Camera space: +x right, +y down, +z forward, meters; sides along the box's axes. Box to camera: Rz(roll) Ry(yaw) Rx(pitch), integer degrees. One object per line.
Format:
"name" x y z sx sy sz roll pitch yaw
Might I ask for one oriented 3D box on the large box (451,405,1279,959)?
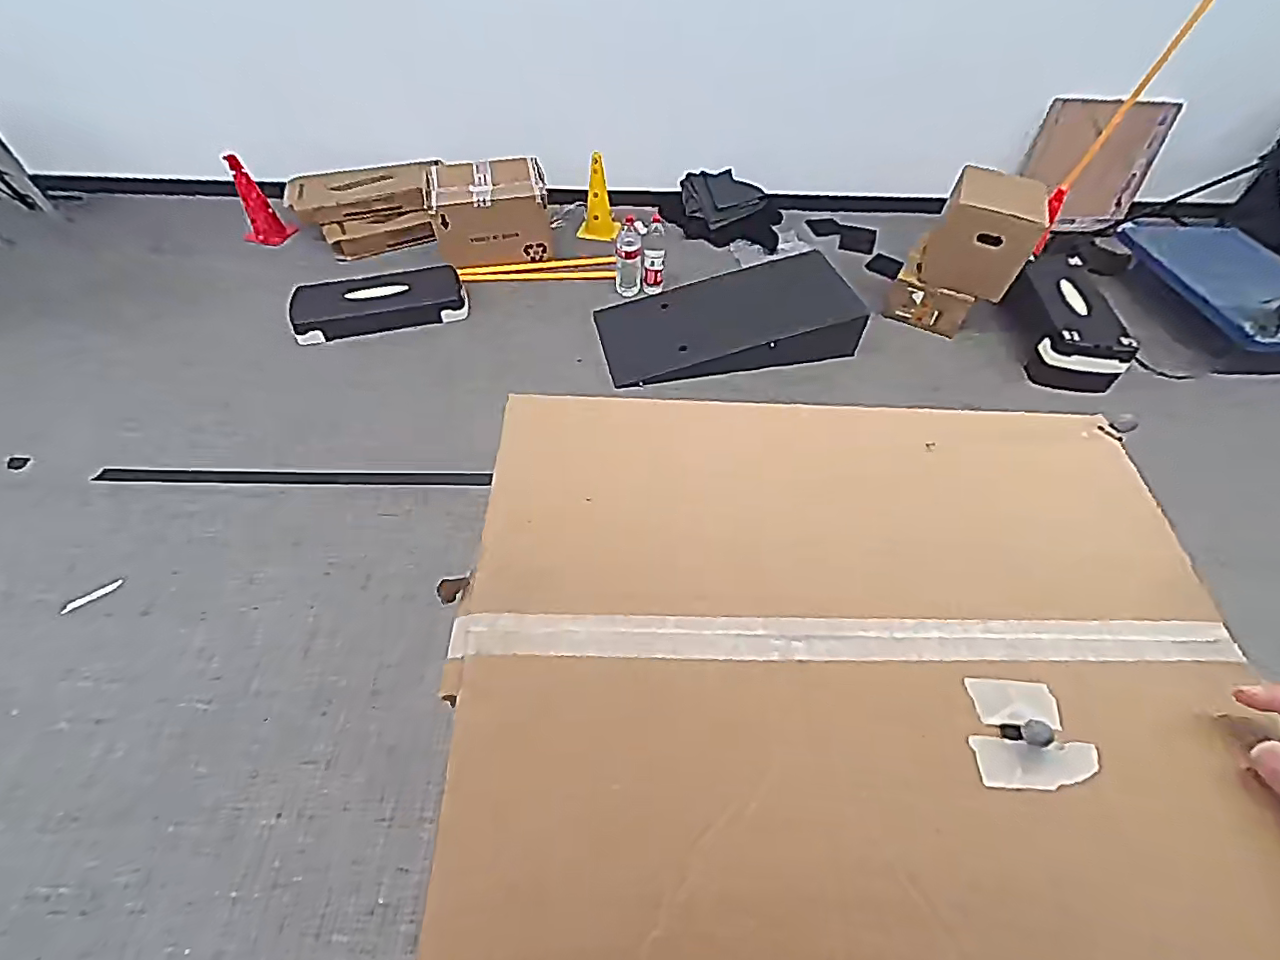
"large box" 0.107 0.162 0.421 0.408 0.320 0.320 2 59 -4
